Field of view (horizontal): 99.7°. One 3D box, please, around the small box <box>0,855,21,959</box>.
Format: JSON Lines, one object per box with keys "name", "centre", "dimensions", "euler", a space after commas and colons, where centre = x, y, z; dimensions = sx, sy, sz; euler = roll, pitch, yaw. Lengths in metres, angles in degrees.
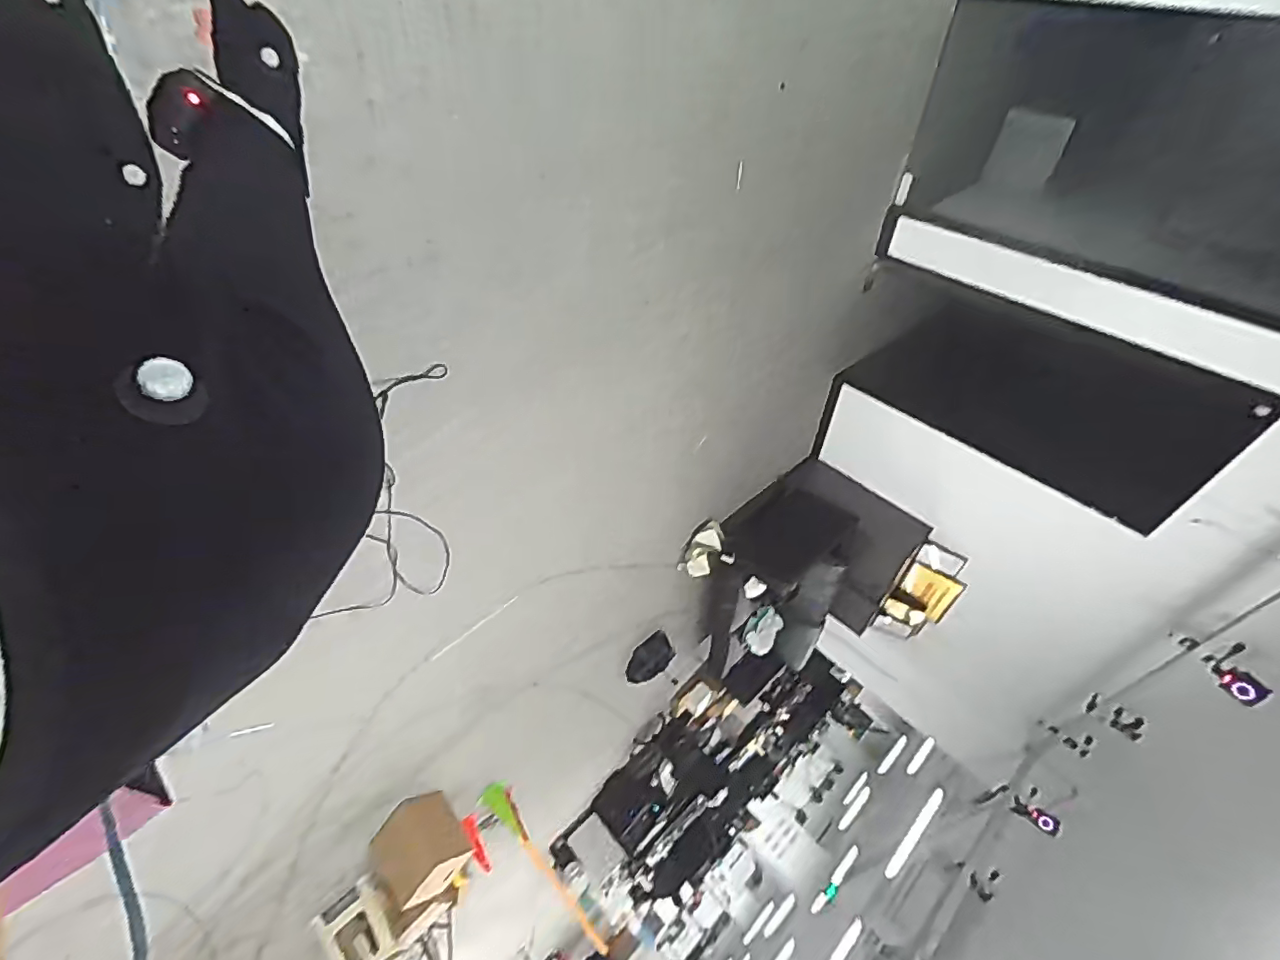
{"name": "small box", "centre": [-0.929, 0.589, 0.661], "dimensions": [0.179, 0.176, 0.168], "euler": [-34, 145, -28]}
